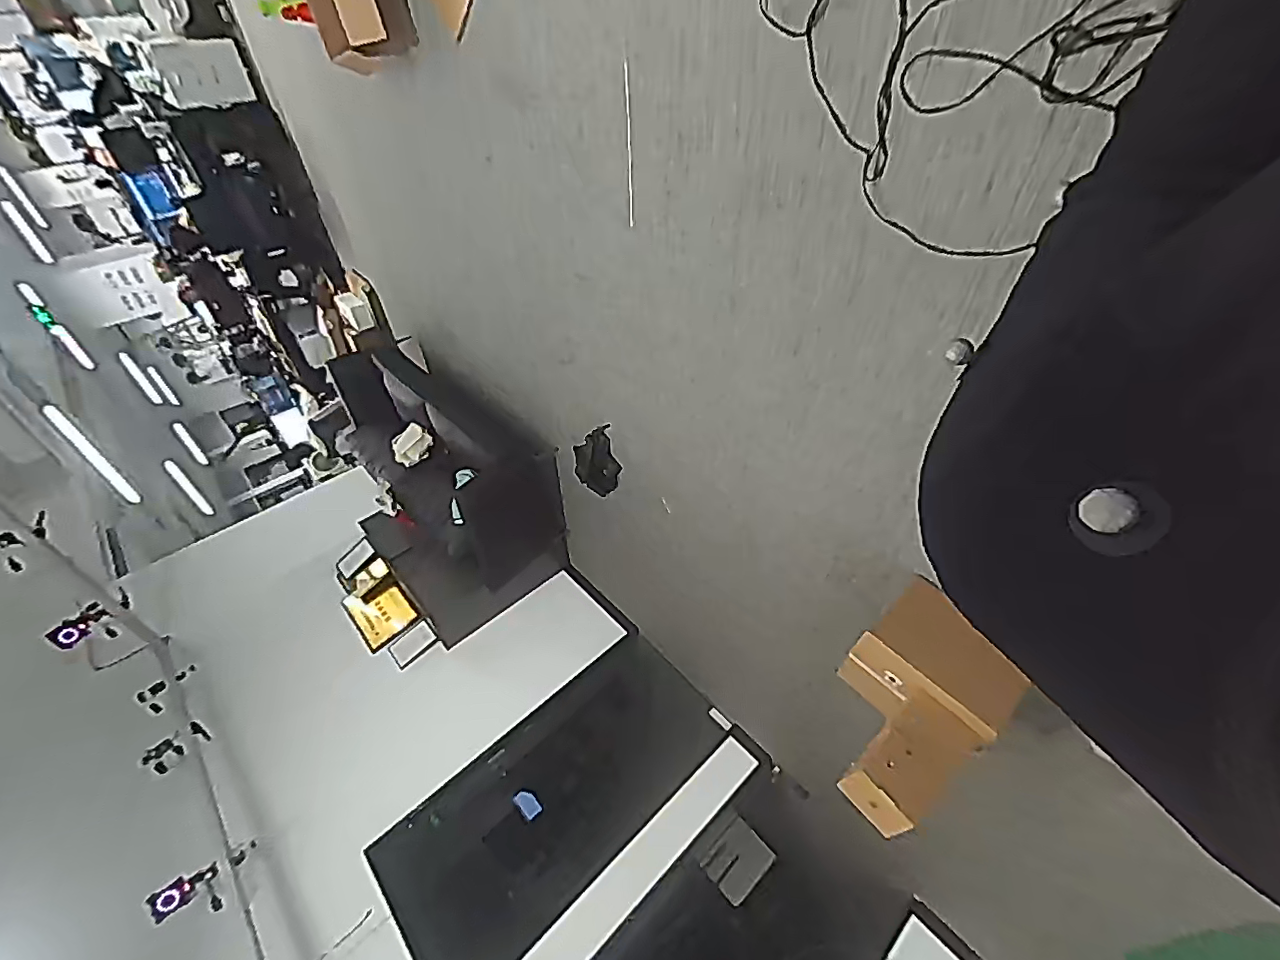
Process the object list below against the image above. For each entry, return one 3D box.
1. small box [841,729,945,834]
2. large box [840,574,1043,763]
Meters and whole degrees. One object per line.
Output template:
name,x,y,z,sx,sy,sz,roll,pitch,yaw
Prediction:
small box,0.680,0.804,1.451,0.168,0.176,0.179,44,150,28
large box,0.927,0.580,1.699,0.408,0.320,0.320,41,147,30
